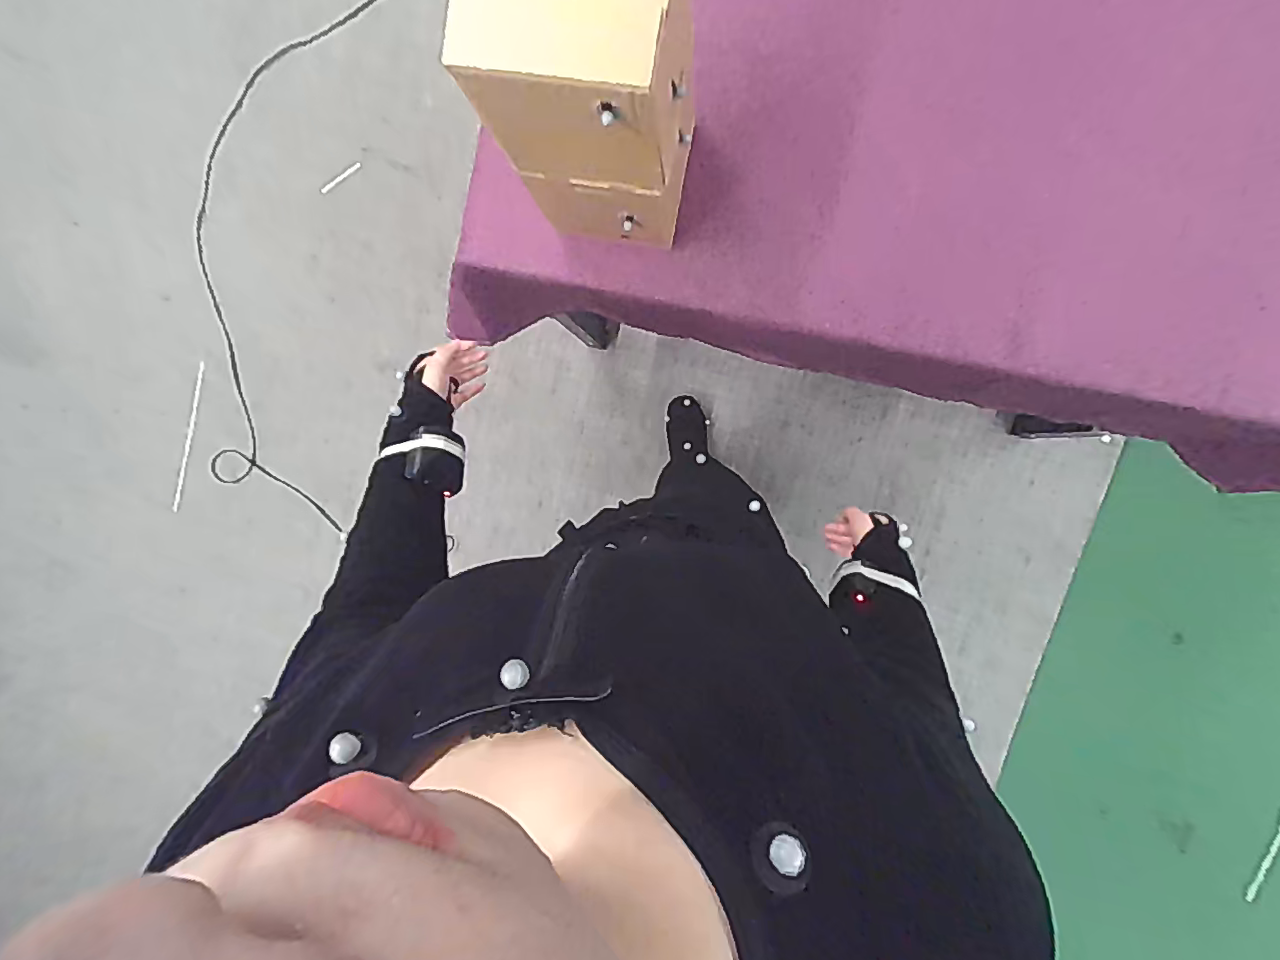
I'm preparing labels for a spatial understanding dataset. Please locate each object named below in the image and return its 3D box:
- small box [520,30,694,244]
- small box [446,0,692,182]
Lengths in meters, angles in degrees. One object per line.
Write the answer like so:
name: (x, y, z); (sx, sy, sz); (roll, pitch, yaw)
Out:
small box: (-0.029, -0.414, 0.663); (0.168, 0.176, 0.179); (12, 94, 5)
small box: (-0.052, -0.405, 0.502); (0.179, 0.176, 0.168); (10, 95, 4)
